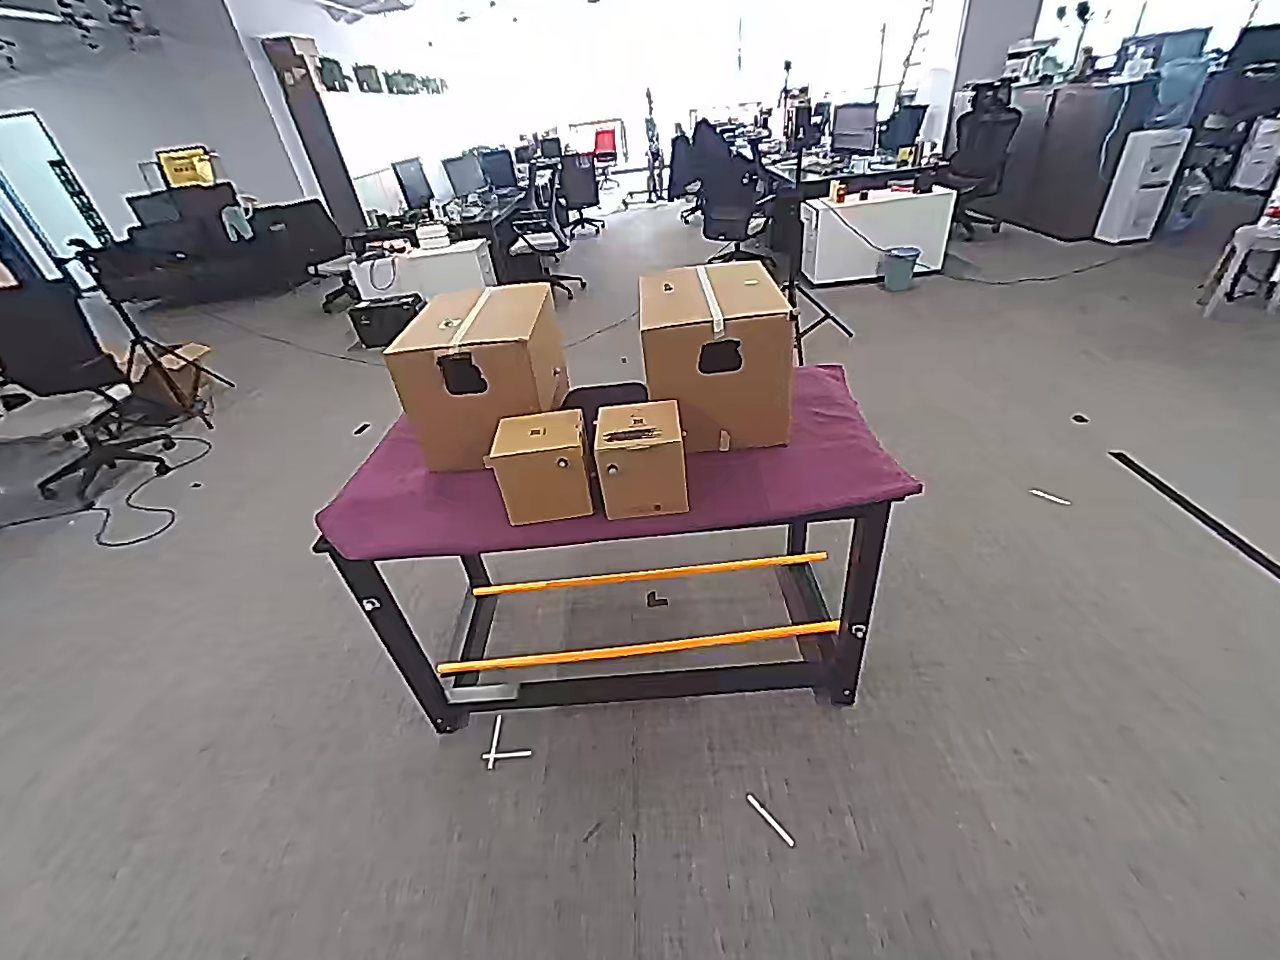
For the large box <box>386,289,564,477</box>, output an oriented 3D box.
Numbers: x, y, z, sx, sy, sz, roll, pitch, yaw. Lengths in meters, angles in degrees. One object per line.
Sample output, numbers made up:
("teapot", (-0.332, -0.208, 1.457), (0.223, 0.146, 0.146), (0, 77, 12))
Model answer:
("large box", (-0.380, -0.258, 1.377), (0.320, 0.320, 0.408), (-6, 38, 3))
